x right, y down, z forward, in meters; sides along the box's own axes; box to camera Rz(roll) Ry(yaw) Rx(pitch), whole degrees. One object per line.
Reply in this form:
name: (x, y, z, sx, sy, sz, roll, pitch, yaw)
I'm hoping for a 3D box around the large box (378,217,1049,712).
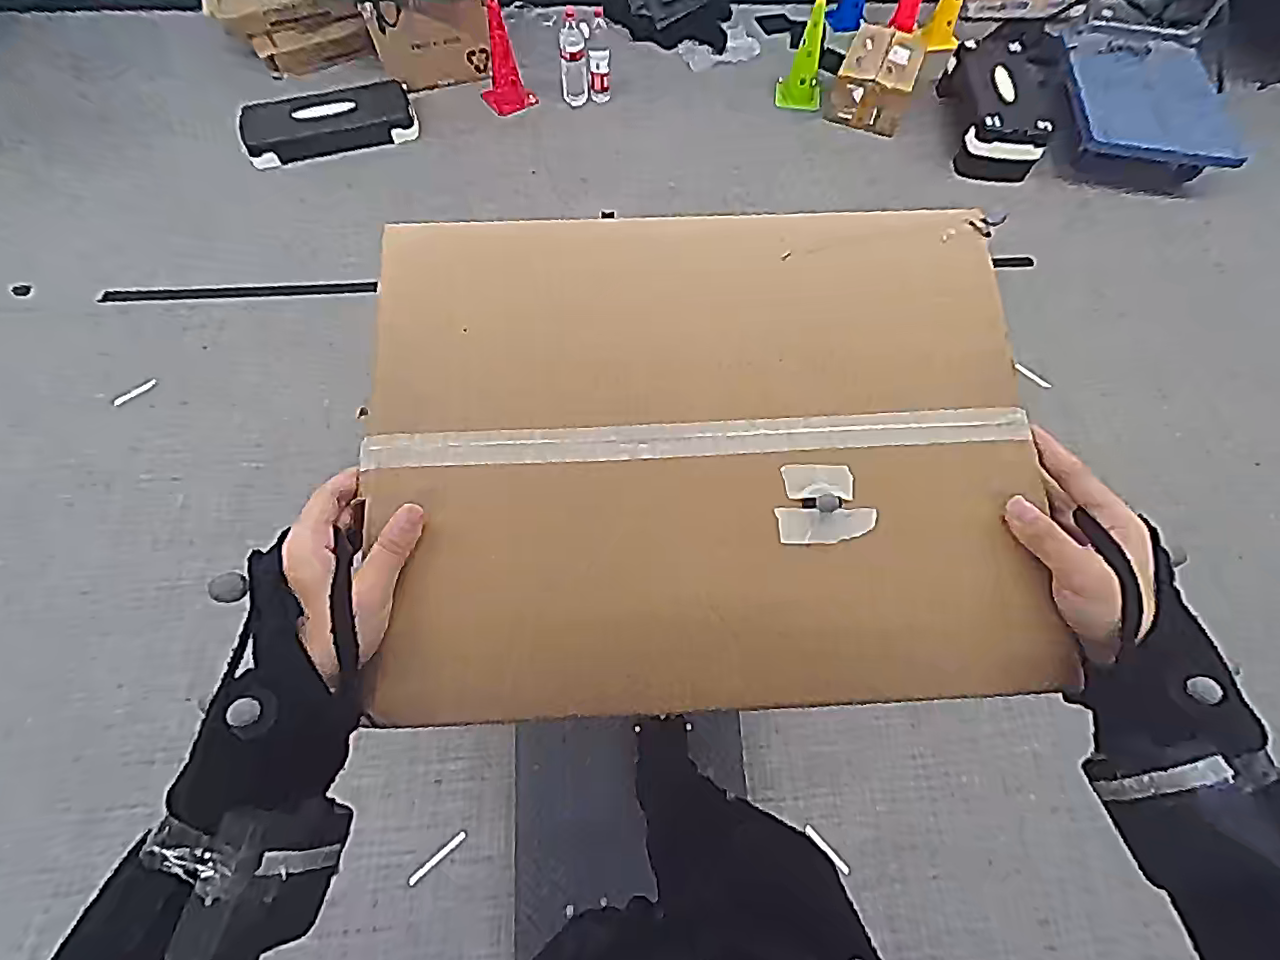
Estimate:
large box: (0.033, 0.004, 0.491, 0.408, 0.320, 0.320, -3, 78, -2)
